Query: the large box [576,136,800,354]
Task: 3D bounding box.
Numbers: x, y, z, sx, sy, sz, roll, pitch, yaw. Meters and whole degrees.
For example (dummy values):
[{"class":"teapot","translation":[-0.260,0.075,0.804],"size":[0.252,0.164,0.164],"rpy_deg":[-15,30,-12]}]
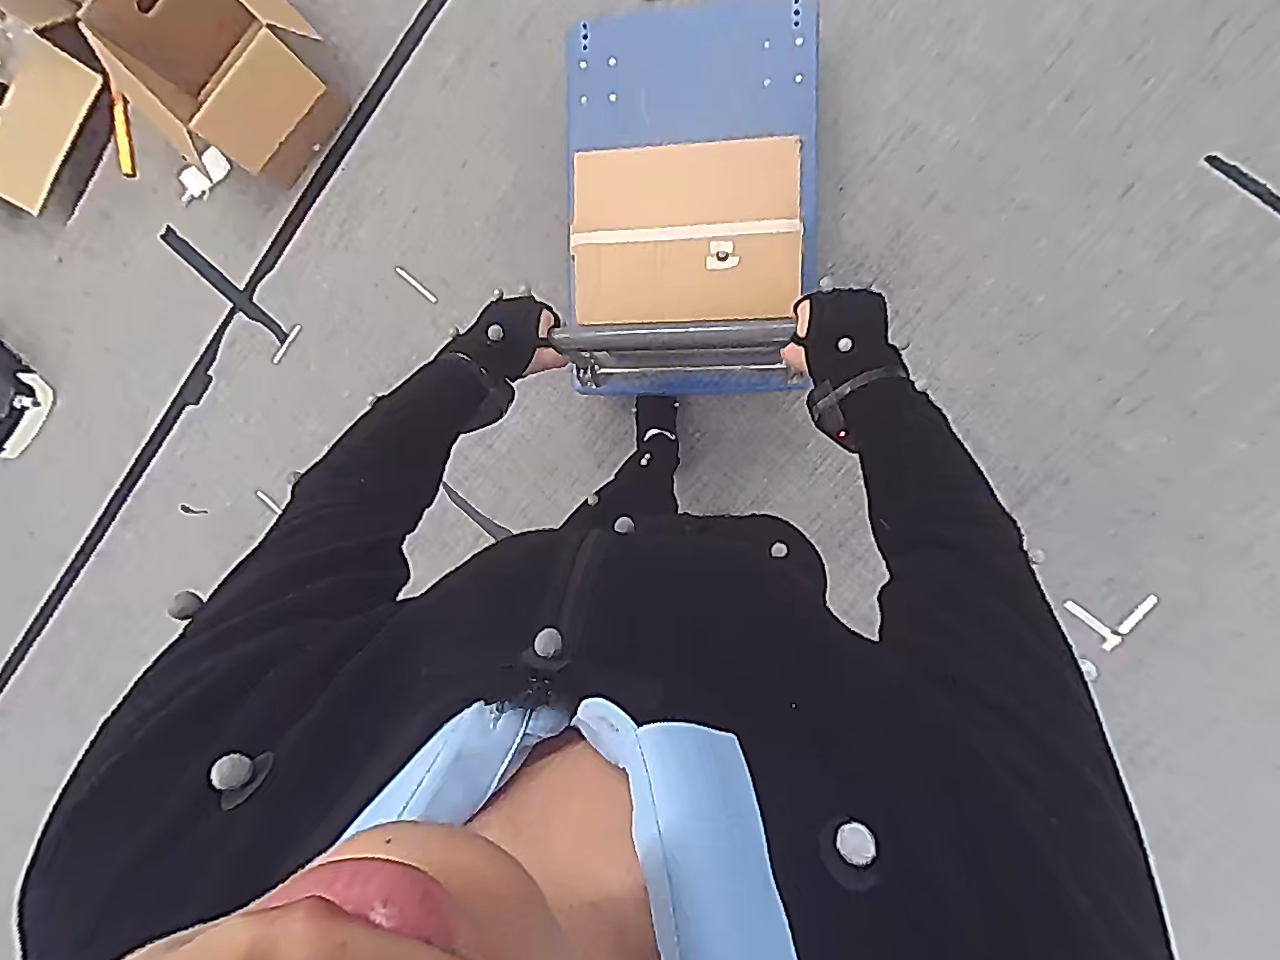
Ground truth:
[{"class":"large box","translation":[0.097,-0.450,1.117],"size":[0.408,0.320,0.320],"rpy_deg":[0,93,6]}]
